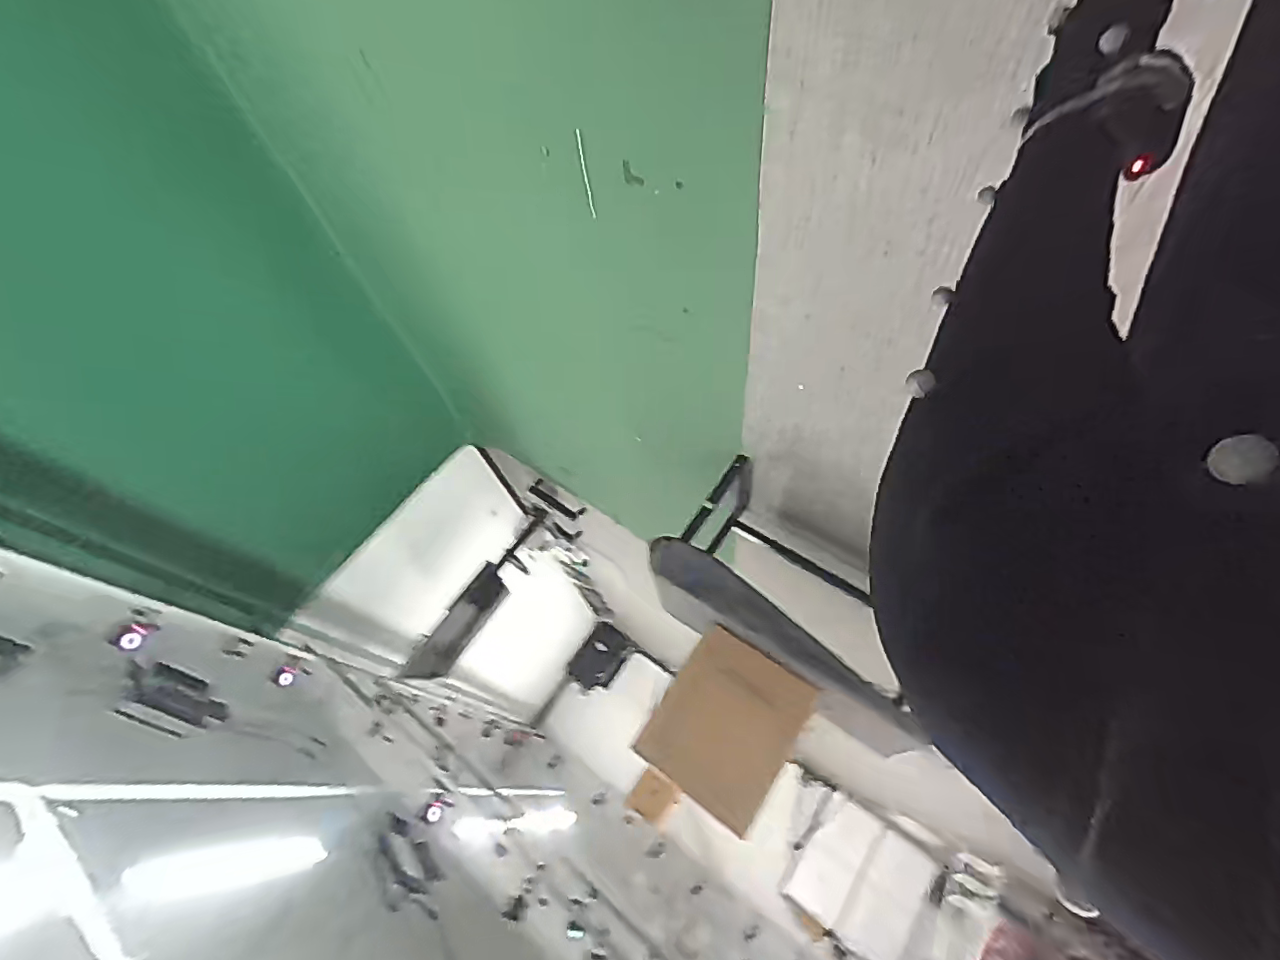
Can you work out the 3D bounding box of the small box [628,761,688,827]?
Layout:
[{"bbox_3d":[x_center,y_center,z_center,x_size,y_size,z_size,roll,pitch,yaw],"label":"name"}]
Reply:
[{"bbox_3d":[0.079,1.281,2.211,0.168,0.176,0.179,29,155,28],"label":"small box"}]
